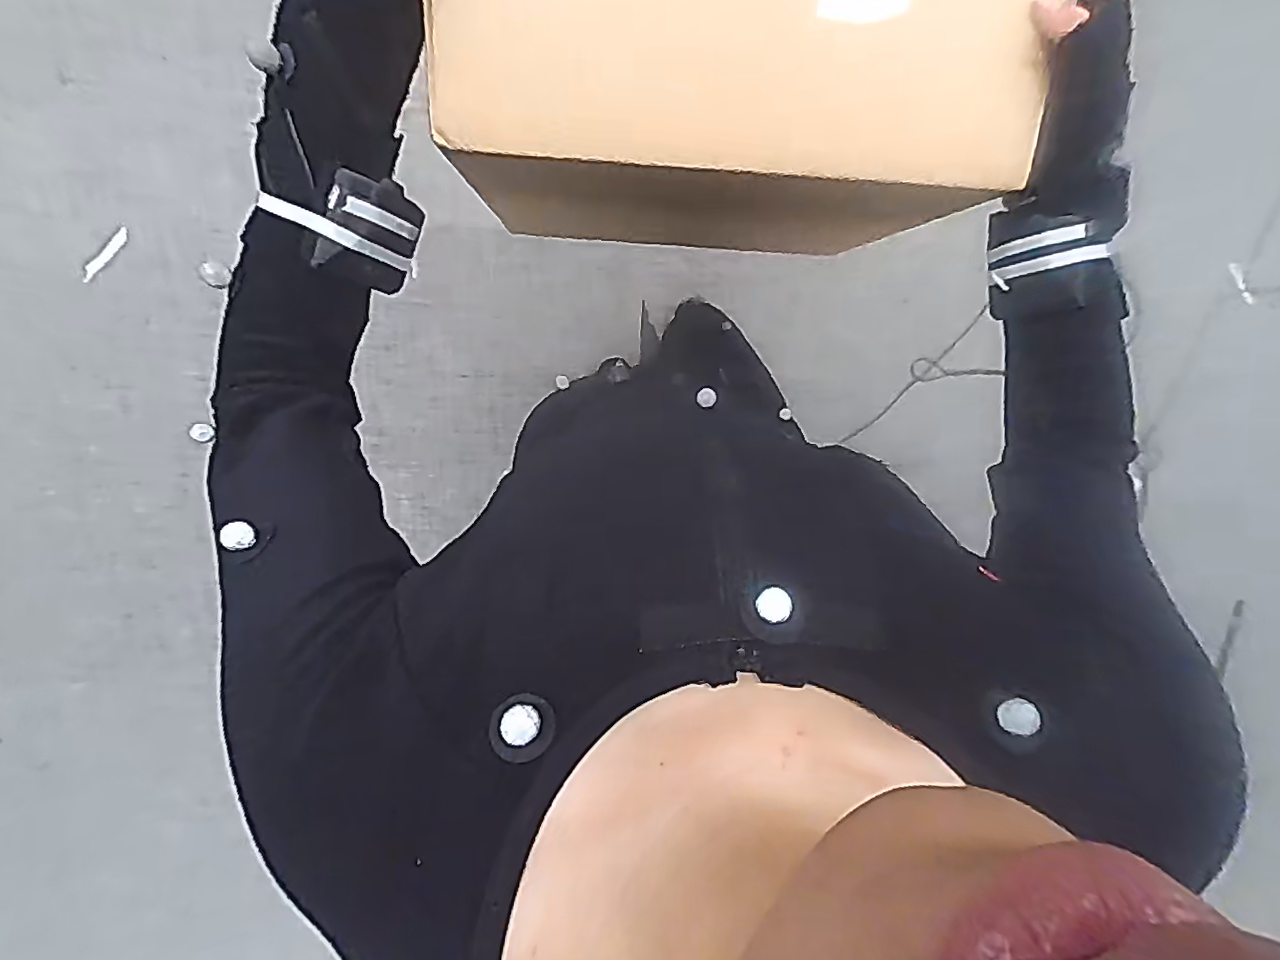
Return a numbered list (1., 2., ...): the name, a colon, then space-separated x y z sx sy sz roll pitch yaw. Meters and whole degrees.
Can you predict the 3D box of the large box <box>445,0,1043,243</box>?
1. large box: 0.062 -0.407 0.481 0.408 0.320 0.320 1 105 -5
